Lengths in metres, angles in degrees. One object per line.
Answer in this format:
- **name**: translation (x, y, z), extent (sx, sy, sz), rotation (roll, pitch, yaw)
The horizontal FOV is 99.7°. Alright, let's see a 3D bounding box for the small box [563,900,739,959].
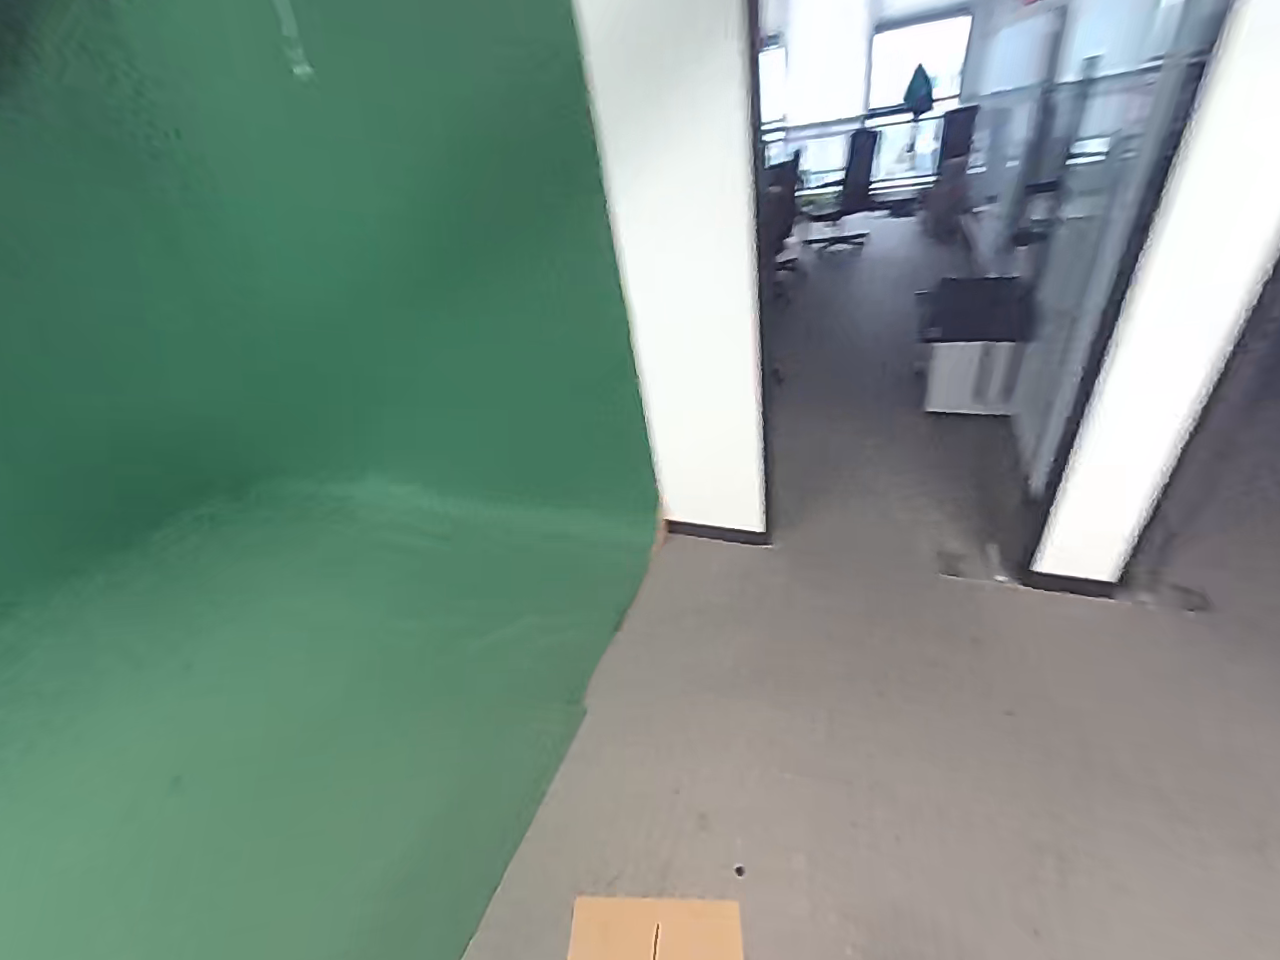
- **small box**: translation (0.016, 0.531, 0.506), extent (0.168, 0.176, 0.179), rotation (-3, 34, 6)
